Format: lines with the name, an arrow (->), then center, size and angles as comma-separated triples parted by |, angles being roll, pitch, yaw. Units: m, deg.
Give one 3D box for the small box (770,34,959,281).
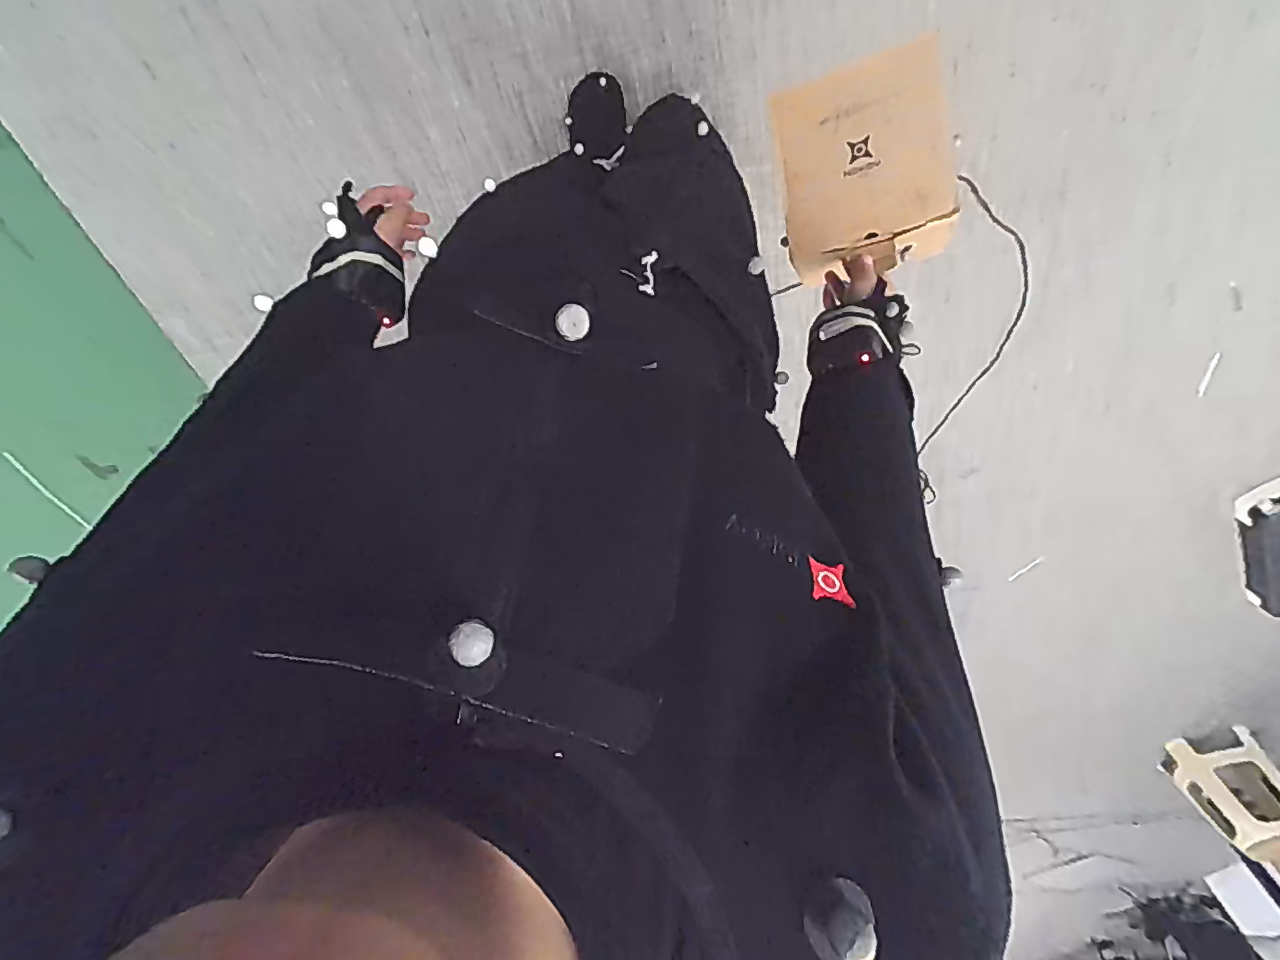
small box -> 0.257, -0.343, 0.626 | 0.168, 0.176, 0.179 | -8, 94, 23
